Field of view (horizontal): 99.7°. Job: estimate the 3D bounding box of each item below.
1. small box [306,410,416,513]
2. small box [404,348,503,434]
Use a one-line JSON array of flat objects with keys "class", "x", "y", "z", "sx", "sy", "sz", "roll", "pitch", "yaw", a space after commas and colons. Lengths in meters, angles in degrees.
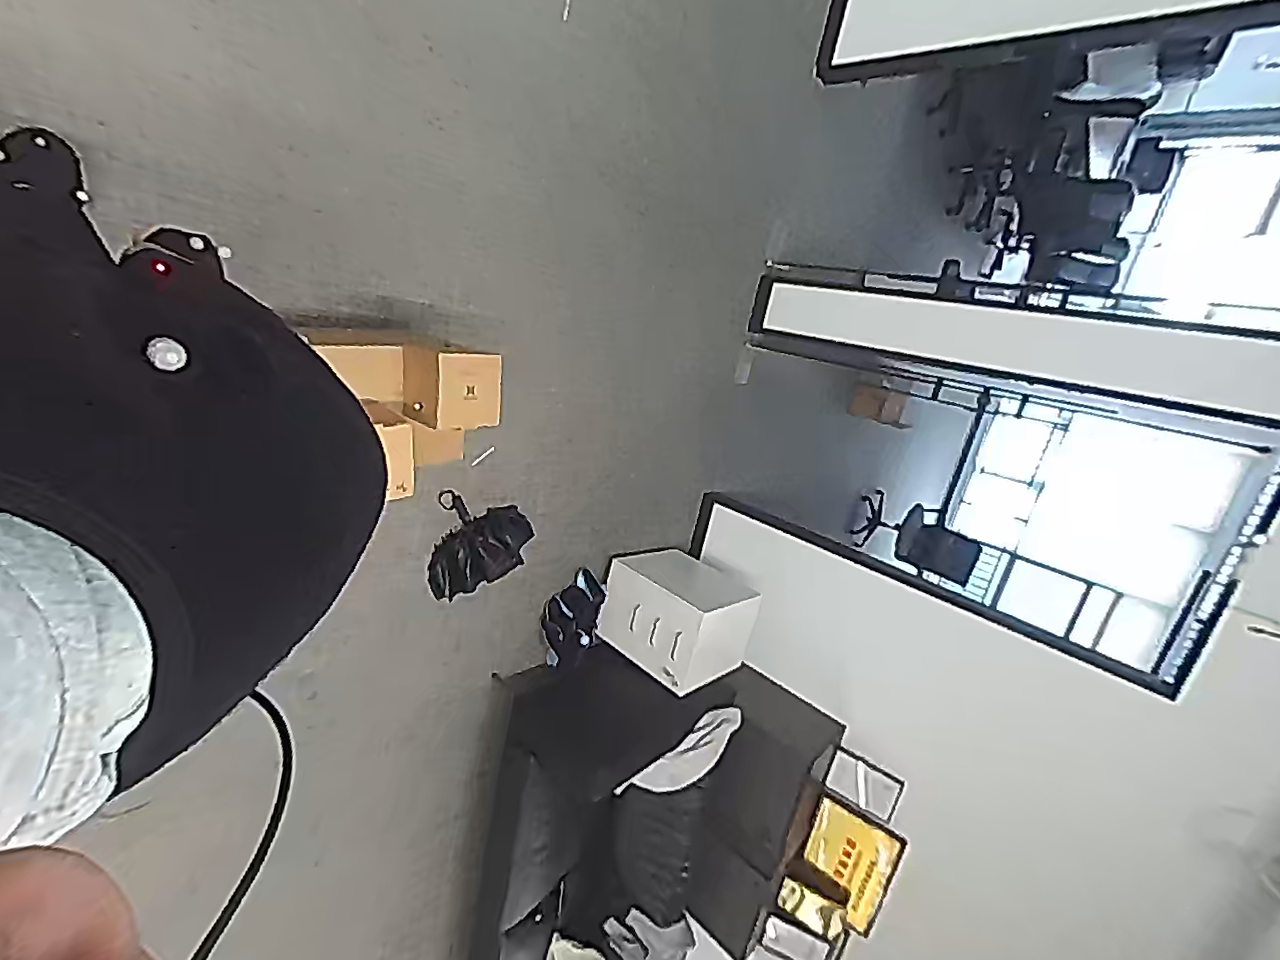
[{"class": "small box", "x": -0.614, "y": -0.051, "z": 1.191, "sx": 0.168, "sy": 0.176, "sz": 0.179, "roll": -16, "pitch": 122, "yaw": -45}, {"class": "small box", "x": -0.451, "y": -0.219, "z": 1.302, "sx": 0.168, "sy": 0.176, "sz": 0.179, "roll": -13, "pitch": 115, "yaw": -48}]
